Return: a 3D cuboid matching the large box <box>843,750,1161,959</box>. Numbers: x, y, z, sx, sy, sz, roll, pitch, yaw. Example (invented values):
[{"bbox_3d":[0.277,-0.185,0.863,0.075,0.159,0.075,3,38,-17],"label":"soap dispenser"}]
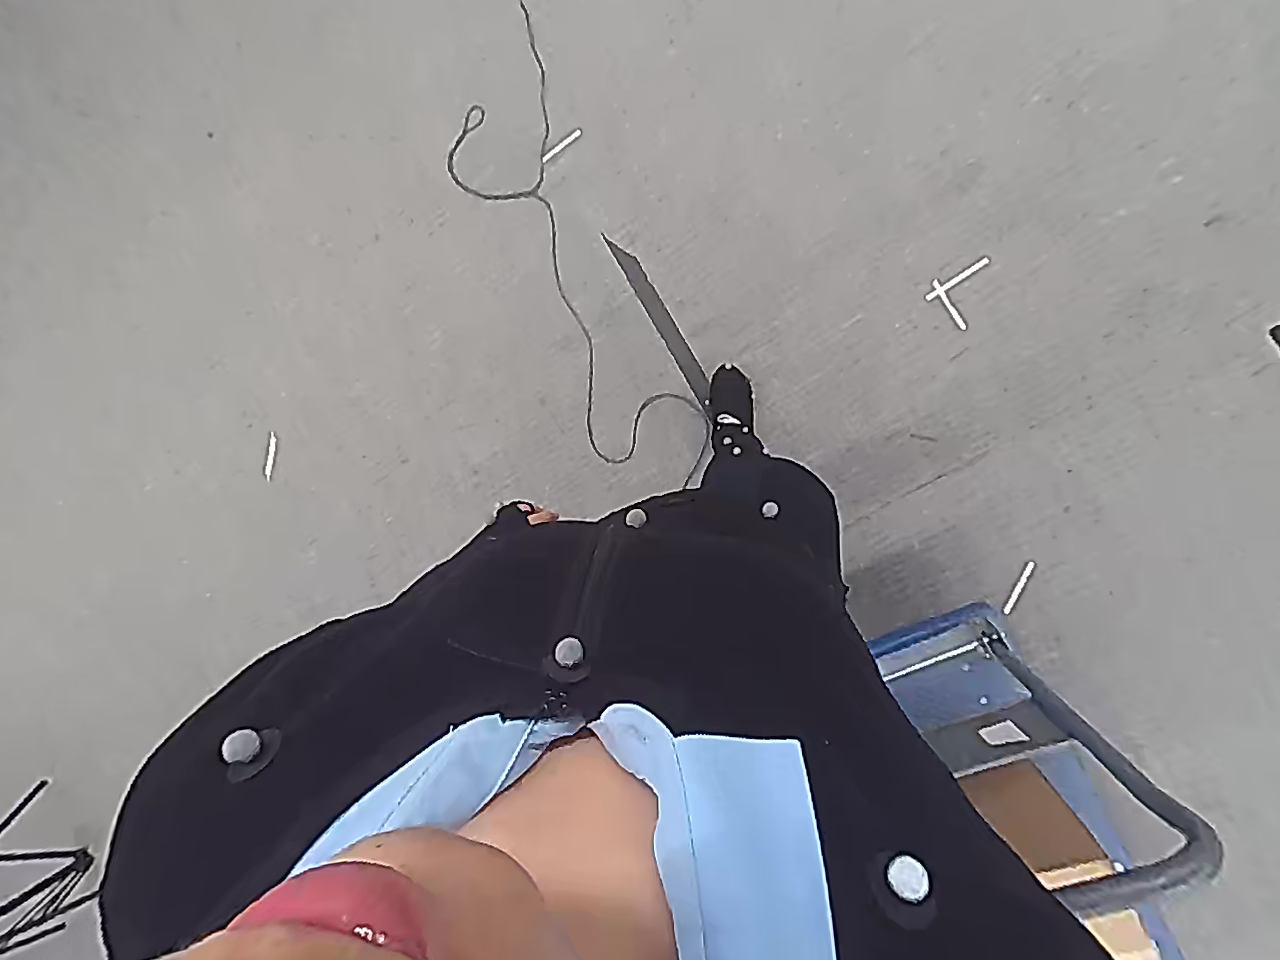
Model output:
[{"bbox_3d":[0.668,0.801,1.050,0.408,0.320,0.320,-26,88,13],"label":"large box"}]
